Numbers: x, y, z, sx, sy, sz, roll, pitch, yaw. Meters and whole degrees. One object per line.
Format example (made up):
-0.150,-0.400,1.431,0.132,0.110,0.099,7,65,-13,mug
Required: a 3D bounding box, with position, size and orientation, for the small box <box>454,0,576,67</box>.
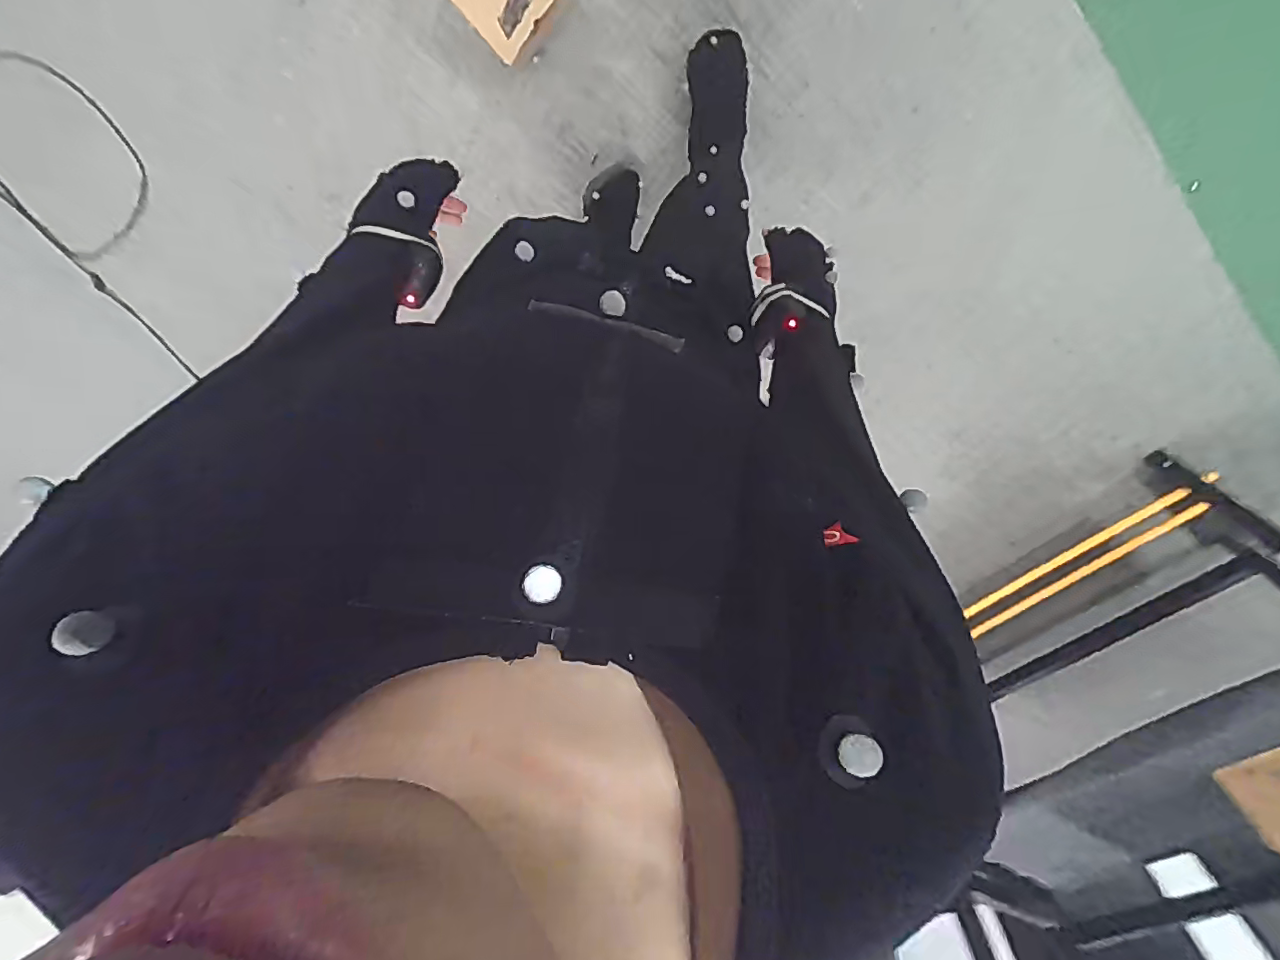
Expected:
-0.229,-0.876,0.955,0.168,0.176,0.179,-38,116,23,small box
